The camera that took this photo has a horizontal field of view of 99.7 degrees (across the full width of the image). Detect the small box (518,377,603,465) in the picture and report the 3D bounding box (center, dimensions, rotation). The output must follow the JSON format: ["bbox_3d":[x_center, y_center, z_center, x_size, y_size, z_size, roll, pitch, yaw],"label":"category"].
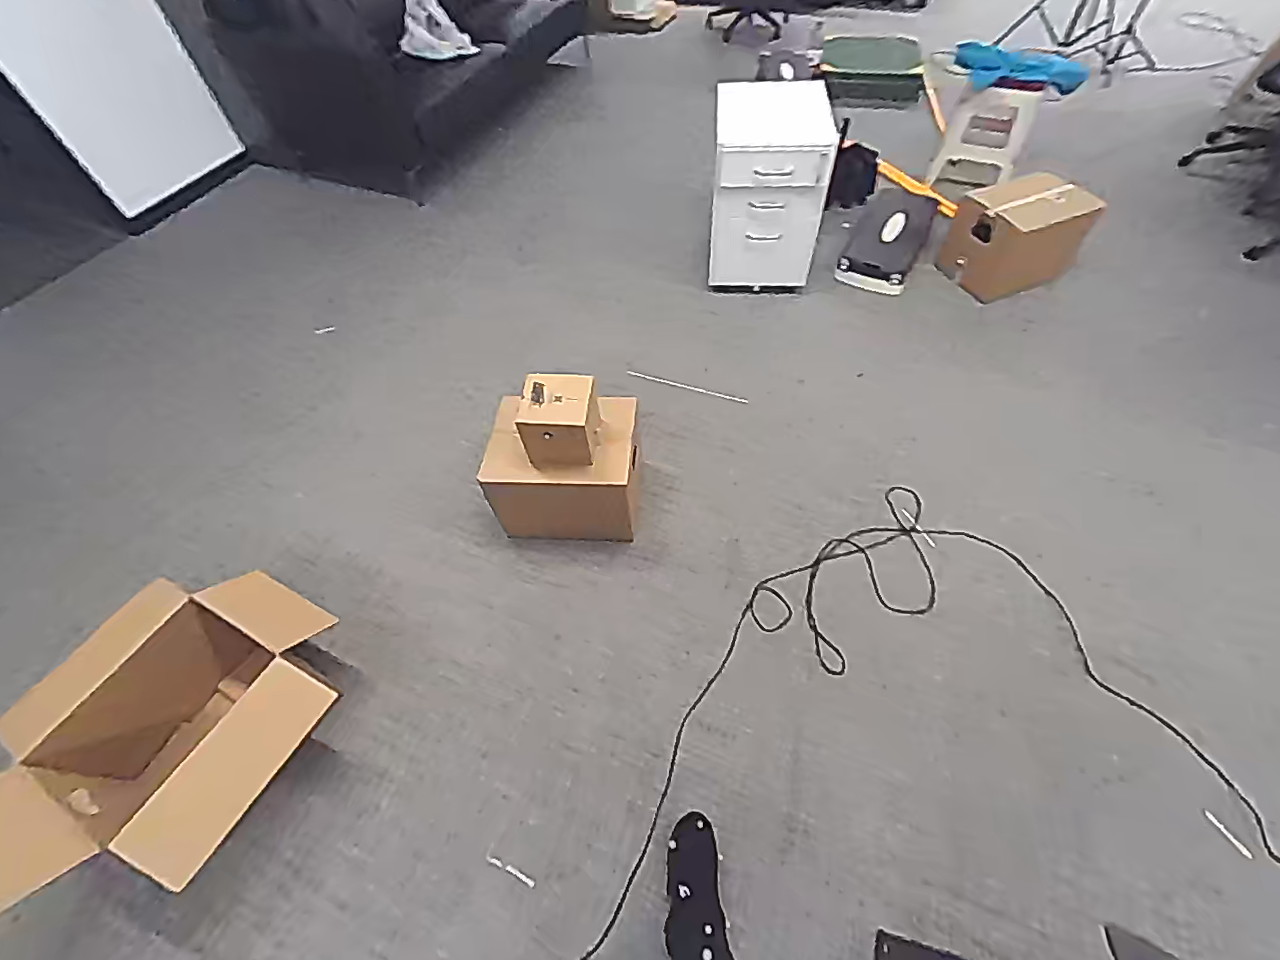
[{"bbox_3d":[-0.202,-0.152,1.429,0.179,0.176,0.168,2,57,6],"label":"small box"}]
